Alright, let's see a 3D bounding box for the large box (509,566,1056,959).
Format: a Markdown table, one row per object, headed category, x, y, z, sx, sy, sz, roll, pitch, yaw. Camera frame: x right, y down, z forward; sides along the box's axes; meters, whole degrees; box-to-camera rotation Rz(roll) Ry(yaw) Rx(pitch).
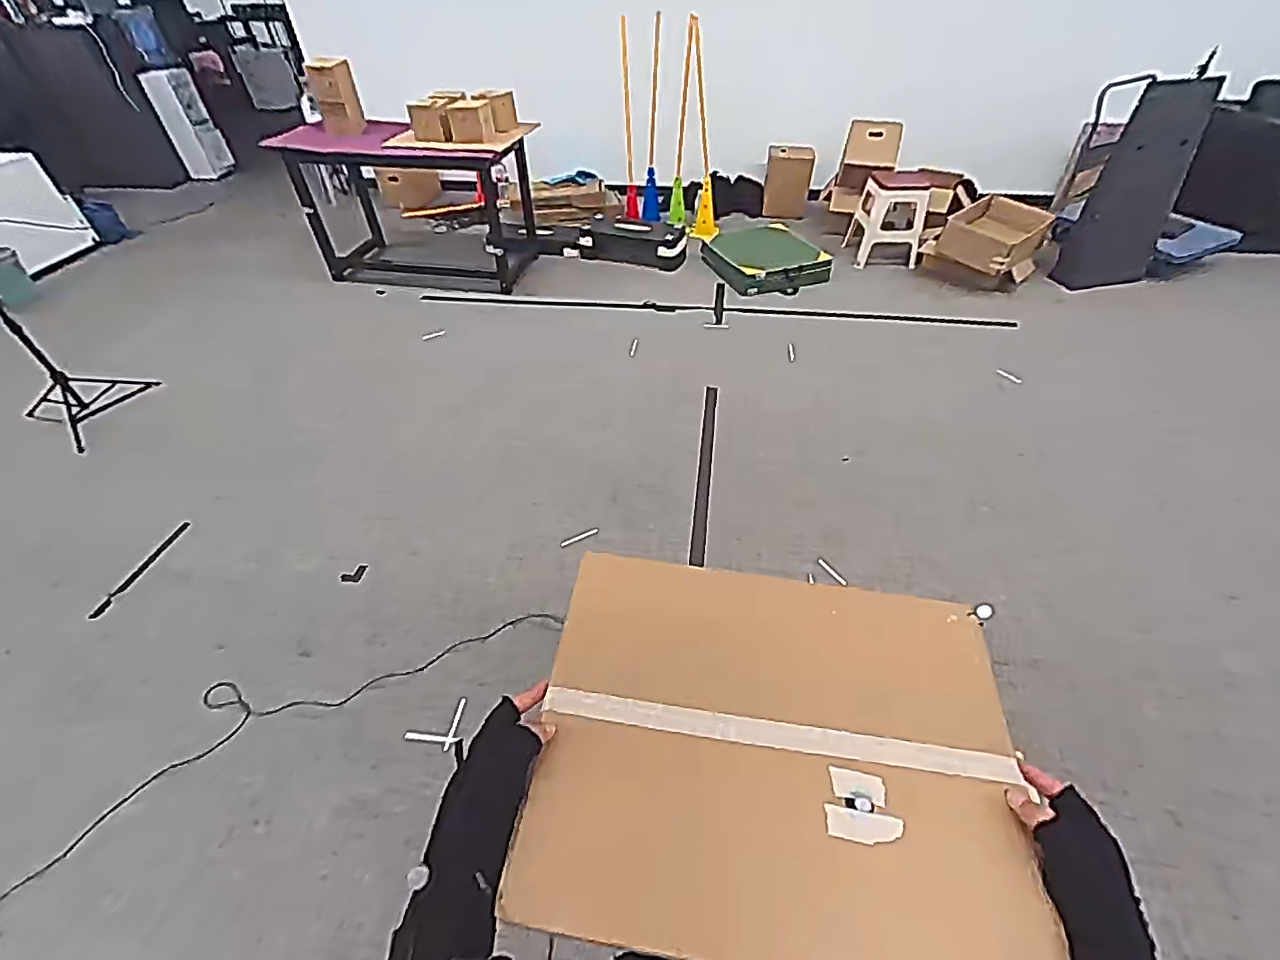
| category | x | y | z | sx | sy | sz | roll | pitch | yaw |
| --- | --- | --- | --- | --- | --- | --- | --- | --- | --- |
| large box | 0.113 | 0.326 | 0.590 | 0.408 | 0.320 | 0.320 | 8 | 51 | 5 |
